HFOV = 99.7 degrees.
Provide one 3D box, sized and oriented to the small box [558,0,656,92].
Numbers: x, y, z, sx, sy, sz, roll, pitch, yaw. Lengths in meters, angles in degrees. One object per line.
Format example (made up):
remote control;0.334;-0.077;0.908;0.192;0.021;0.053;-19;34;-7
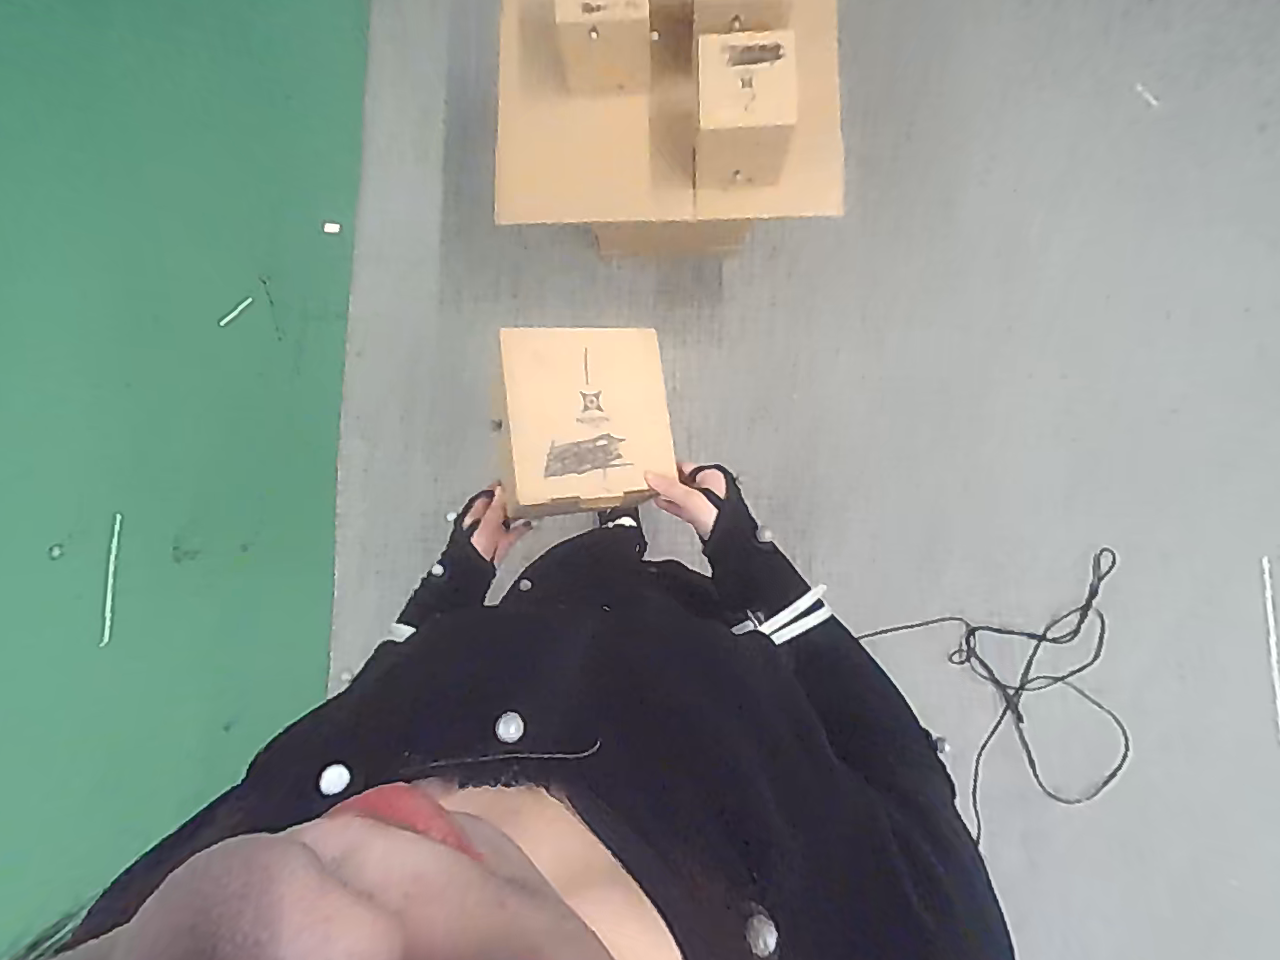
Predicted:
small box;-0.056;-0.881;1.021;0.168;0.176;0.179;-1;84;4

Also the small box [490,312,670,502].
small box;-0.078;-0.070;0.611;0.168;0.176;0.179;-5;82;-18
